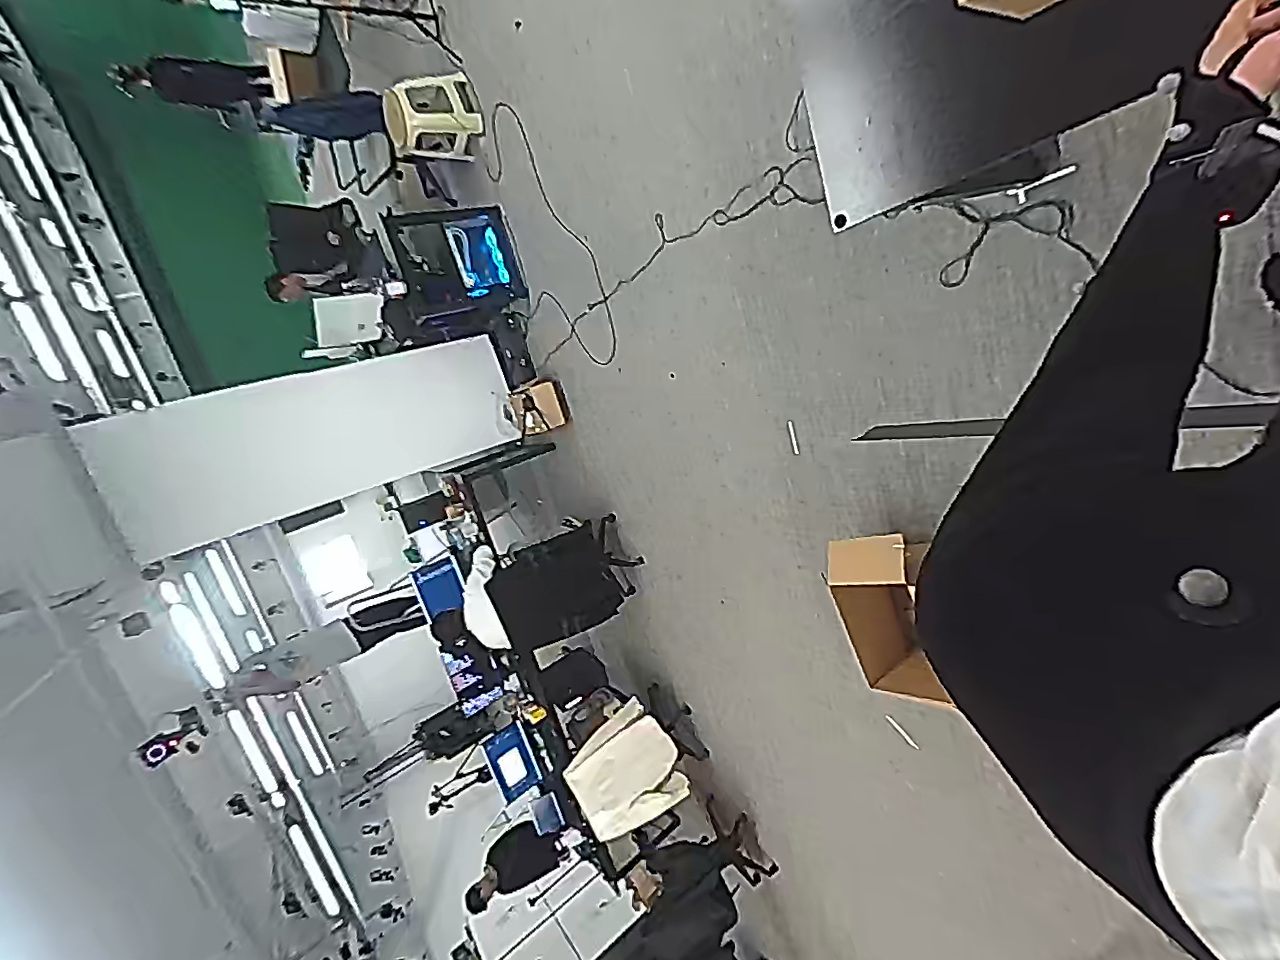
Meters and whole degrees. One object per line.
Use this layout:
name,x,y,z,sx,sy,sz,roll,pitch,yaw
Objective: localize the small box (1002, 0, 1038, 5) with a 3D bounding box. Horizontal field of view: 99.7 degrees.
small box,0.424,-0.618,0.532,0.168,0.176,0.179,11,120,55
